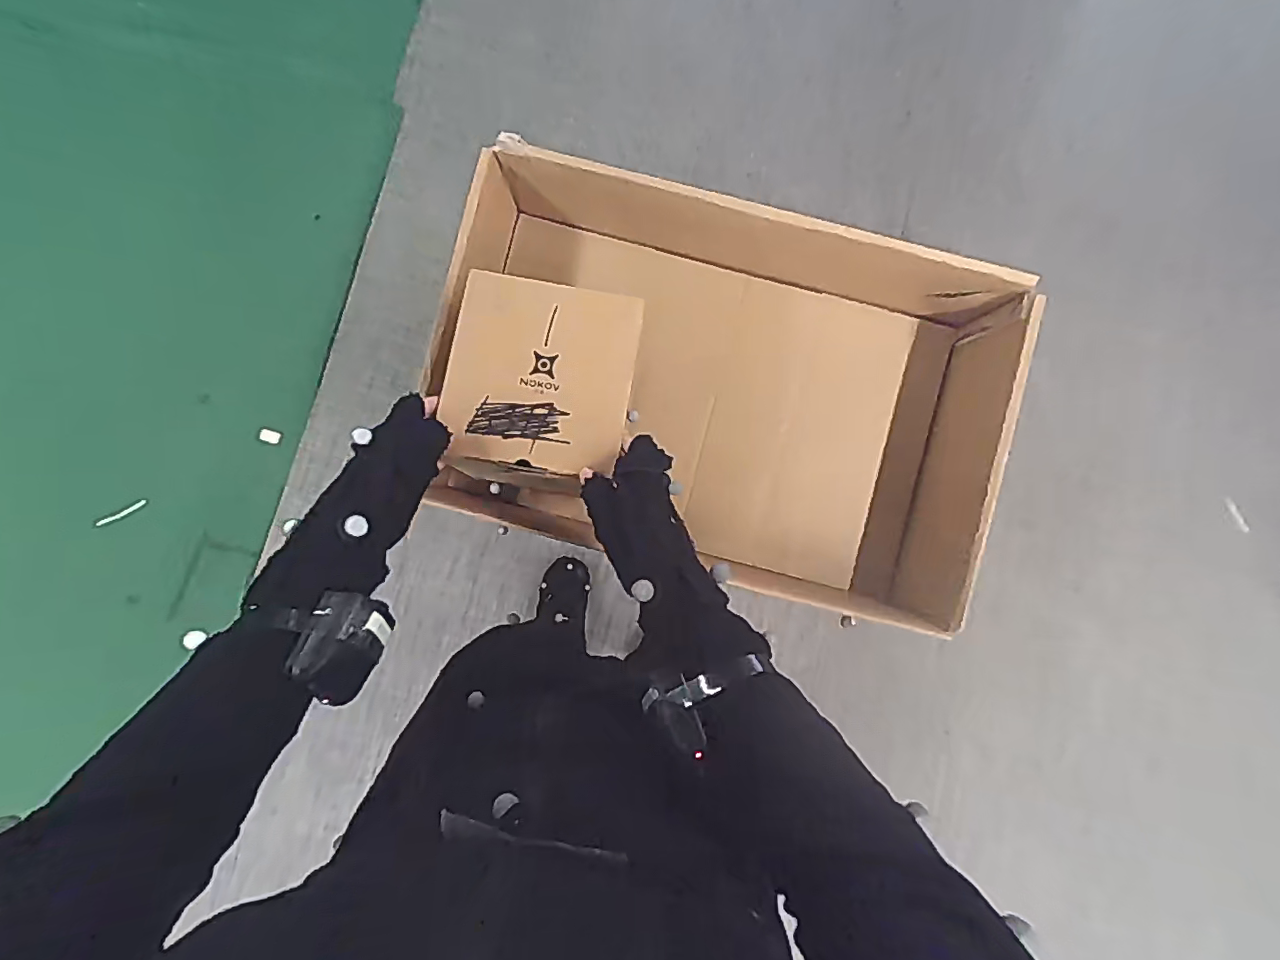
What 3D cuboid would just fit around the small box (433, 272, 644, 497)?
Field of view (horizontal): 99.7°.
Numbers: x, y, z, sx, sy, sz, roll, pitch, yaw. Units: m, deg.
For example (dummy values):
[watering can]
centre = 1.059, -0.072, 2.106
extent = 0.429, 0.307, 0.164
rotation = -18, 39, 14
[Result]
[small box]
centre = -0.092, -0.084, 0.568
extent = 0.168, 0.176, 0.179
rotation = 10, 81, -1
